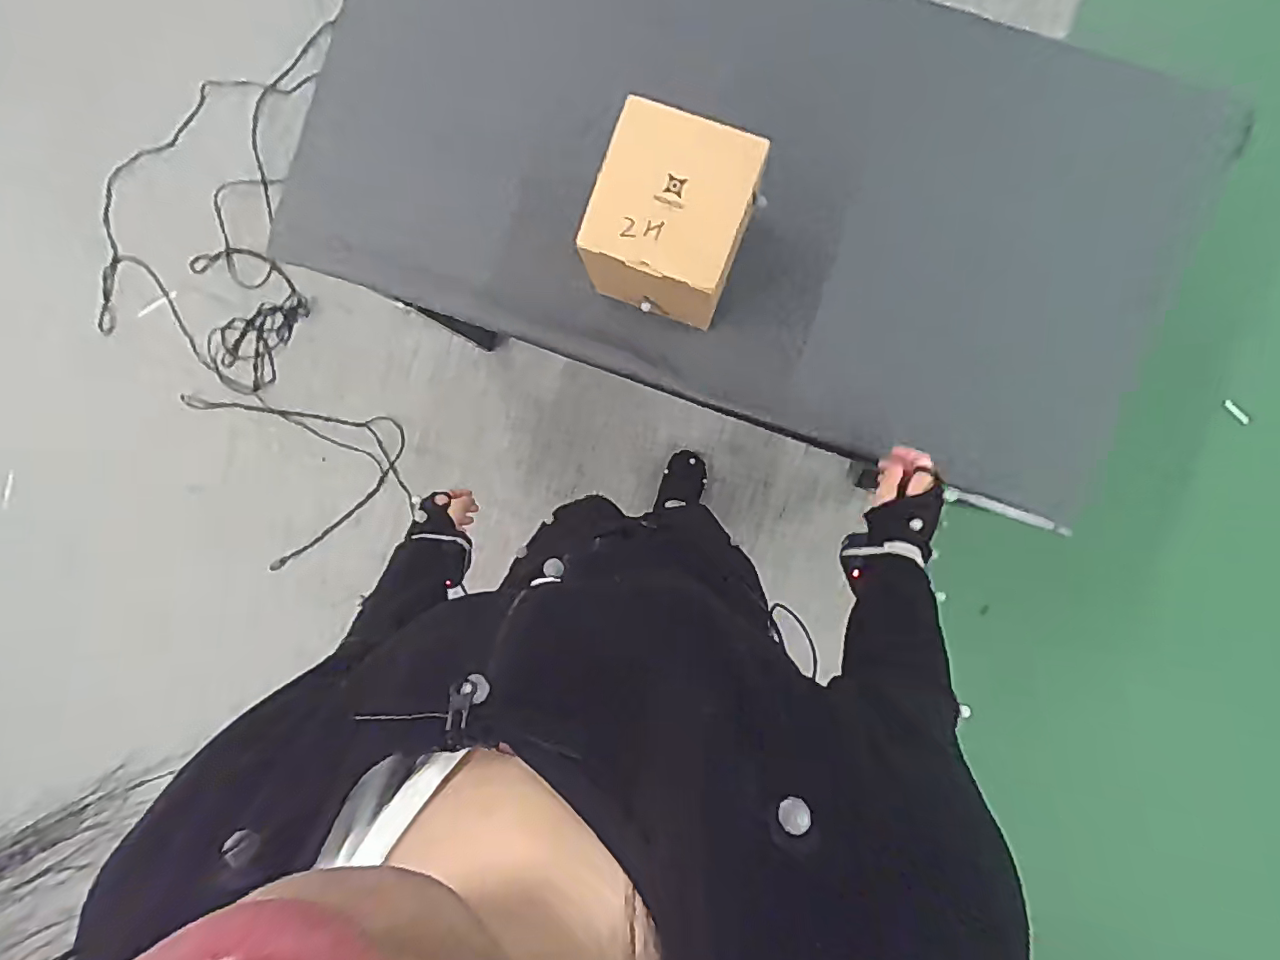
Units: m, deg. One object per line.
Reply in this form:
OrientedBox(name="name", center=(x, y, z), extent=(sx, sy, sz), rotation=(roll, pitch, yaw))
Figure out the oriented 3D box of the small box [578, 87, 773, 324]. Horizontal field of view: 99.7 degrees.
OrientedBox(name="small box", center=(0.041, -0.317, 0.661), extent=(0.168, 0.176, 0.179), rotation=(21, 93, 4))
